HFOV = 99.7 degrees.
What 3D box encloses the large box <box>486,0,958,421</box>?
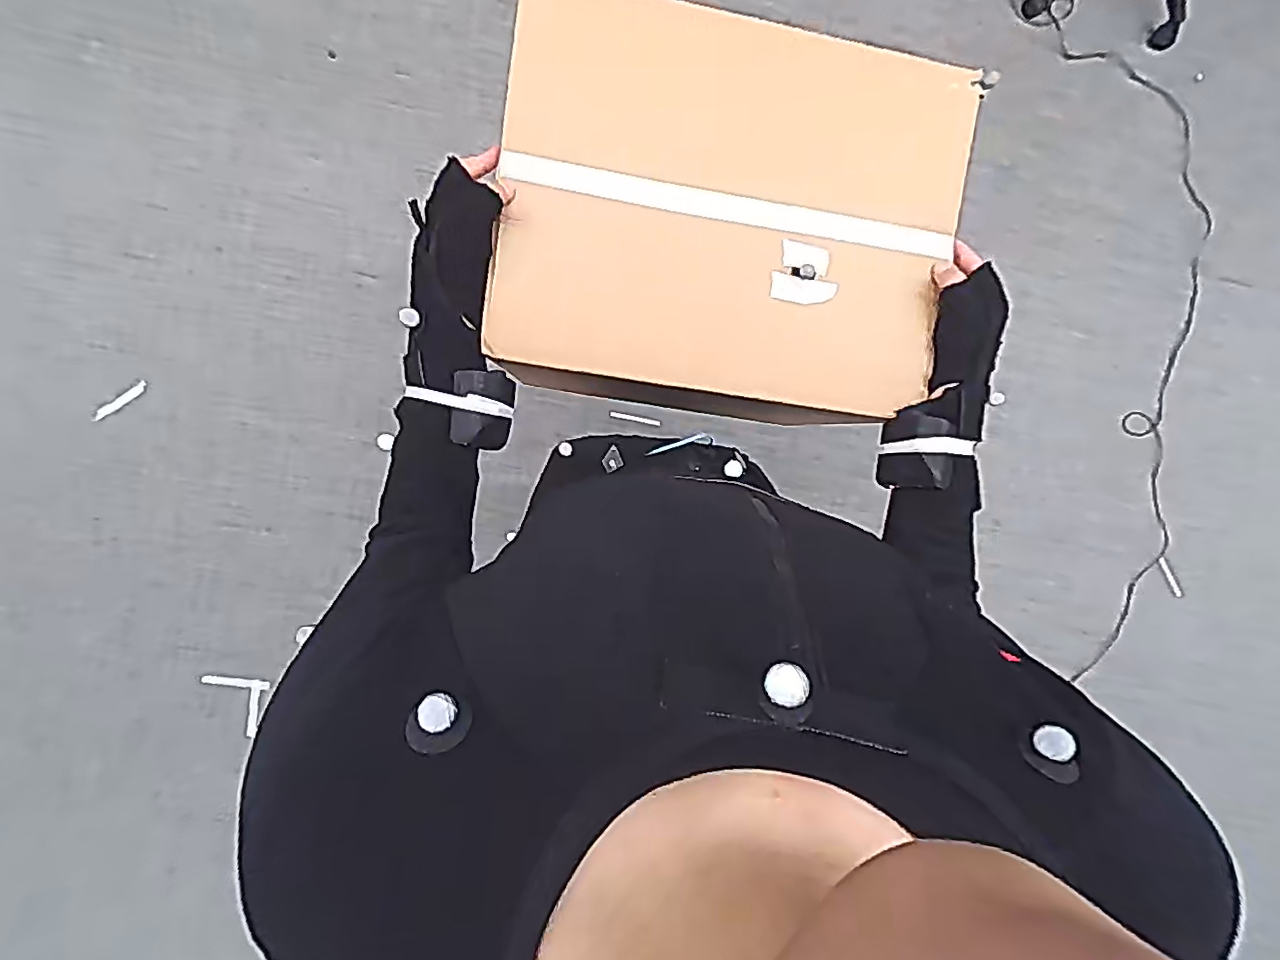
[{"bbox_3d":[0.059,-0.246,0.628,0.408,0.320,0.320,8,96,-8],"label":"large box"}]
